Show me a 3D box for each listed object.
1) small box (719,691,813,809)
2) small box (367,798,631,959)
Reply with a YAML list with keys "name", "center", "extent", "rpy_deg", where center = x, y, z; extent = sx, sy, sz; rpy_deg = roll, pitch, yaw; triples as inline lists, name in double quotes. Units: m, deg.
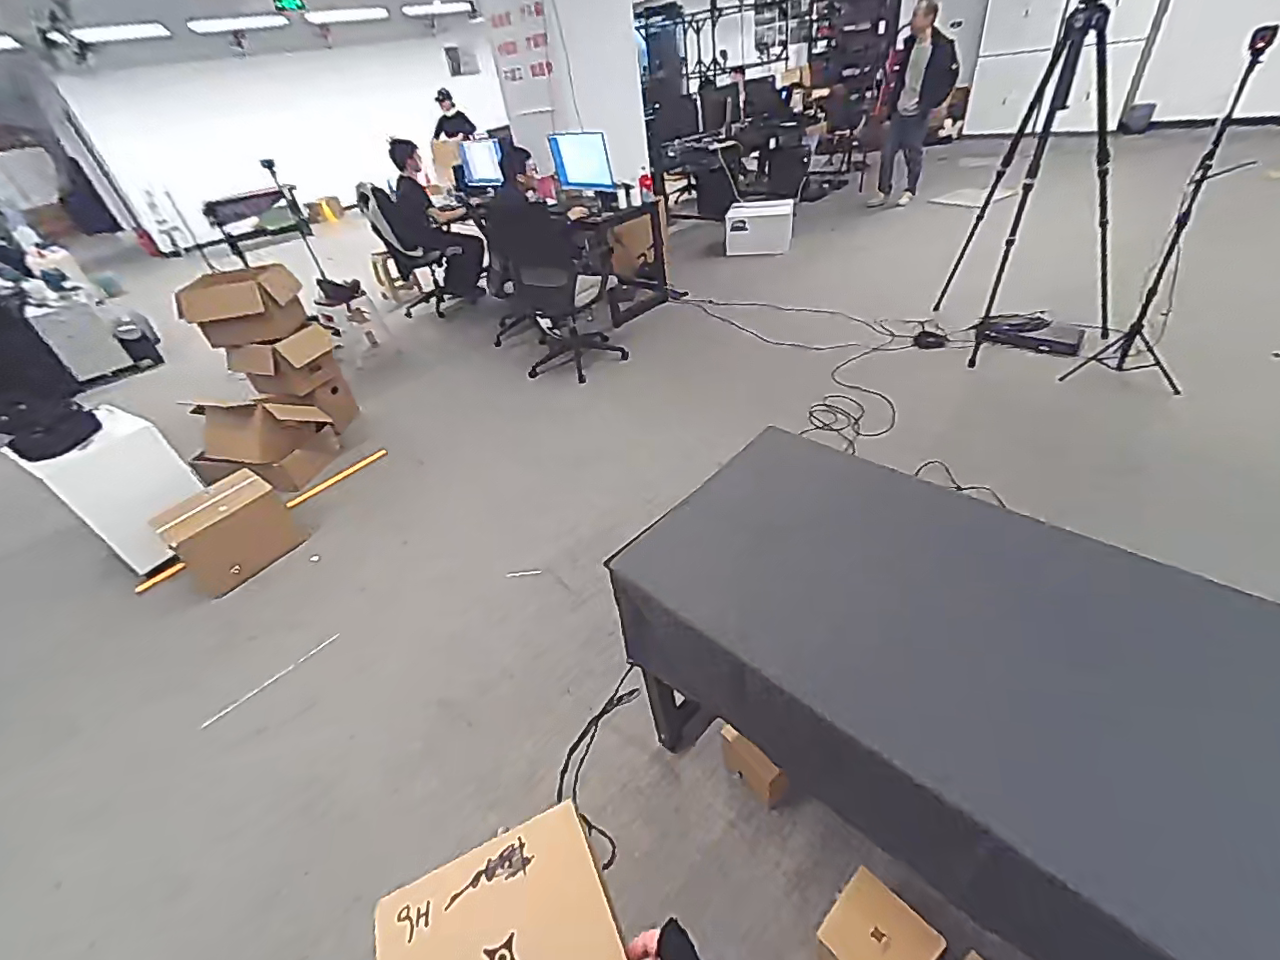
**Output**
- name: "small box"
  center: [0.319, 0.691, 1.389]
  extent: [0.179, 0.176, 0.168]
  rpy_deg: [-29, 40, -25]
- name: "small box"
  center: [-0.091, 0.400, 0.423]
  extent: [0.168, 0.176, 0.179]
  rpy_deg: [-19, 43, -17]
